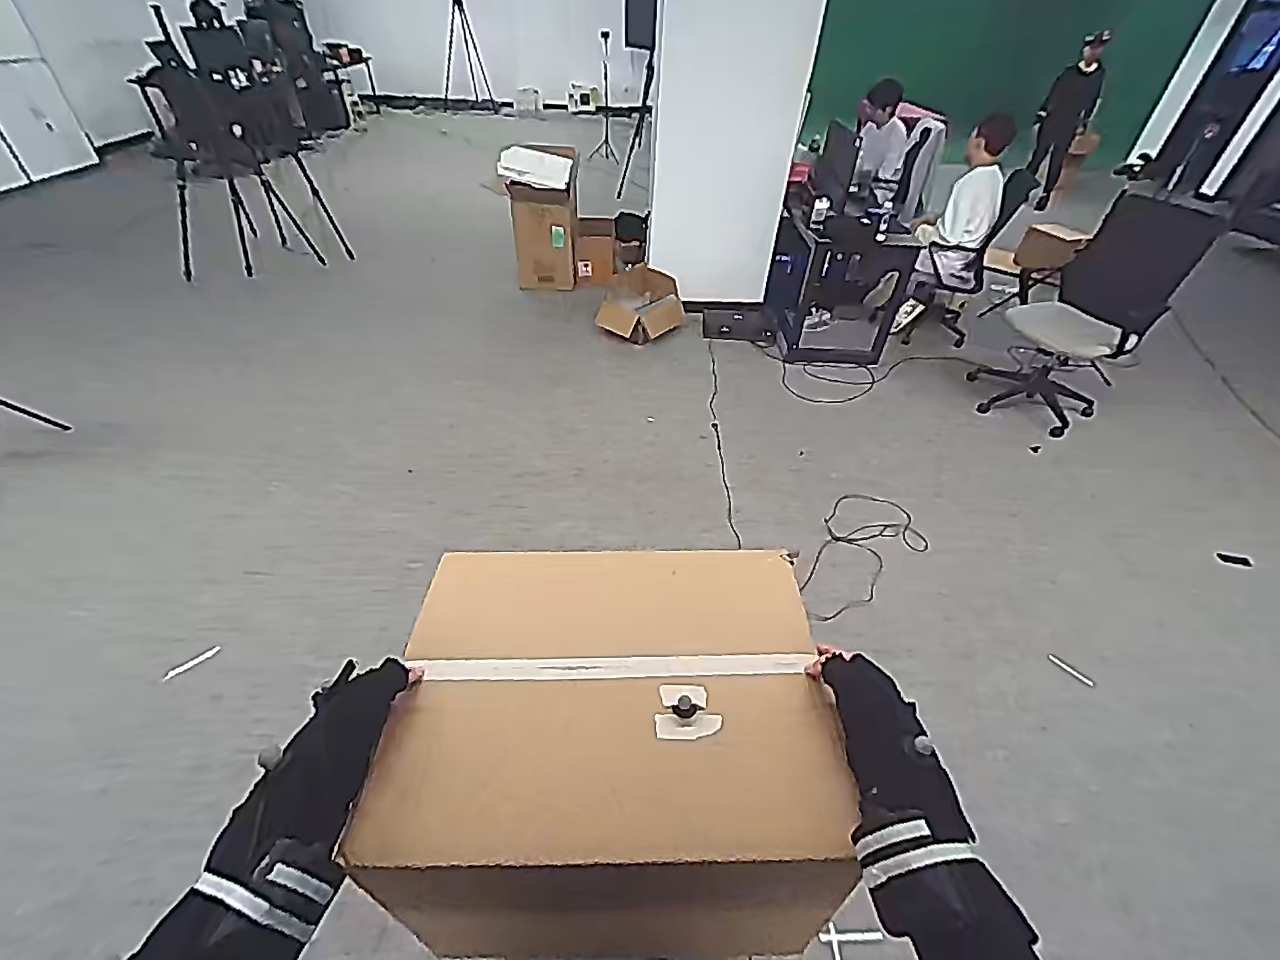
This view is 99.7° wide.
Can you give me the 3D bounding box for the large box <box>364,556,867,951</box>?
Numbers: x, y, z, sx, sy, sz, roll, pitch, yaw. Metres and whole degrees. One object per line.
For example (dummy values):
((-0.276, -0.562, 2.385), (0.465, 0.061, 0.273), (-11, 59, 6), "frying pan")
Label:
((-0.022, 0.306, 0.627), (0.408, 0.320, 0.320), (0, 39, 0), "large box")
